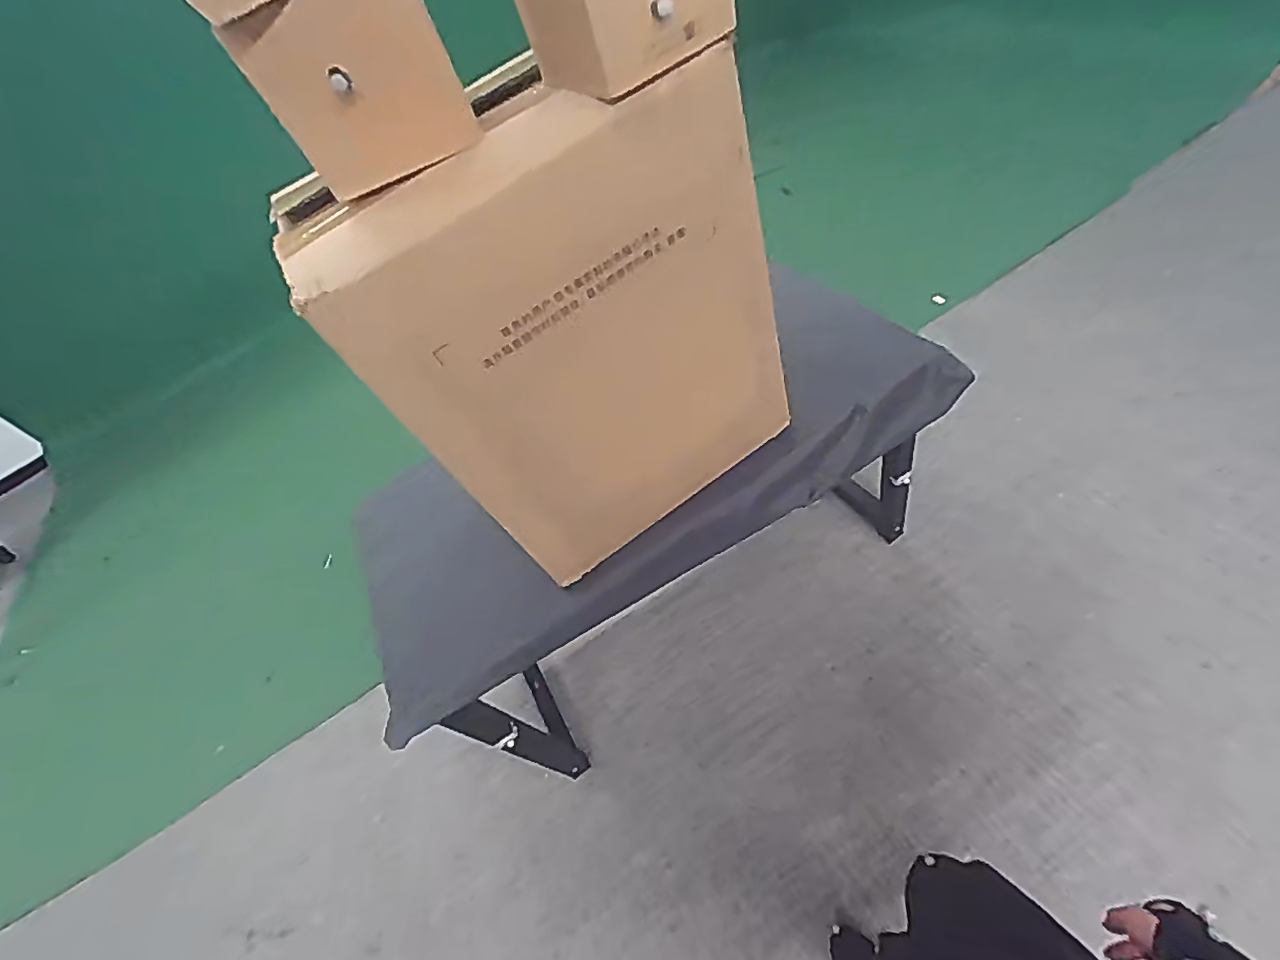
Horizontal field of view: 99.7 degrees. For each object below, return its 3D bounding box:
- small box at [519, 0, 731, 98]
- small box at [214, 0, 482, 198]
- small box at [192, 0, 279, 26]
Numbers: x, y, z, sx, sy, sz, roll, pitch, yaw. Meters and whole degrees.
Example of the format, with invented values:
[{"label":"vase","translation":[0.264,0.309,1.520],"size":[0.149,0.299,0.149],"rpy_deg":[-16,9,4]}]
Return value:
[{"label":"small box","translation":[-0.029,-0.525,0.553],"size":[0.168,0.176,0.179],"rpy_deg":[-35,51,-8]},{"label":"small box","translation":[-0.296,-0.439,0.574],"size":[0.179,0.176,0.168],"rpy_deg":[-24,58,1]},{"label":"small box","translation":[-0.348,-0.512,0.438],"size":[0.179,0.176,0.168],"rpy_deg":[-39,59,-10]}]
